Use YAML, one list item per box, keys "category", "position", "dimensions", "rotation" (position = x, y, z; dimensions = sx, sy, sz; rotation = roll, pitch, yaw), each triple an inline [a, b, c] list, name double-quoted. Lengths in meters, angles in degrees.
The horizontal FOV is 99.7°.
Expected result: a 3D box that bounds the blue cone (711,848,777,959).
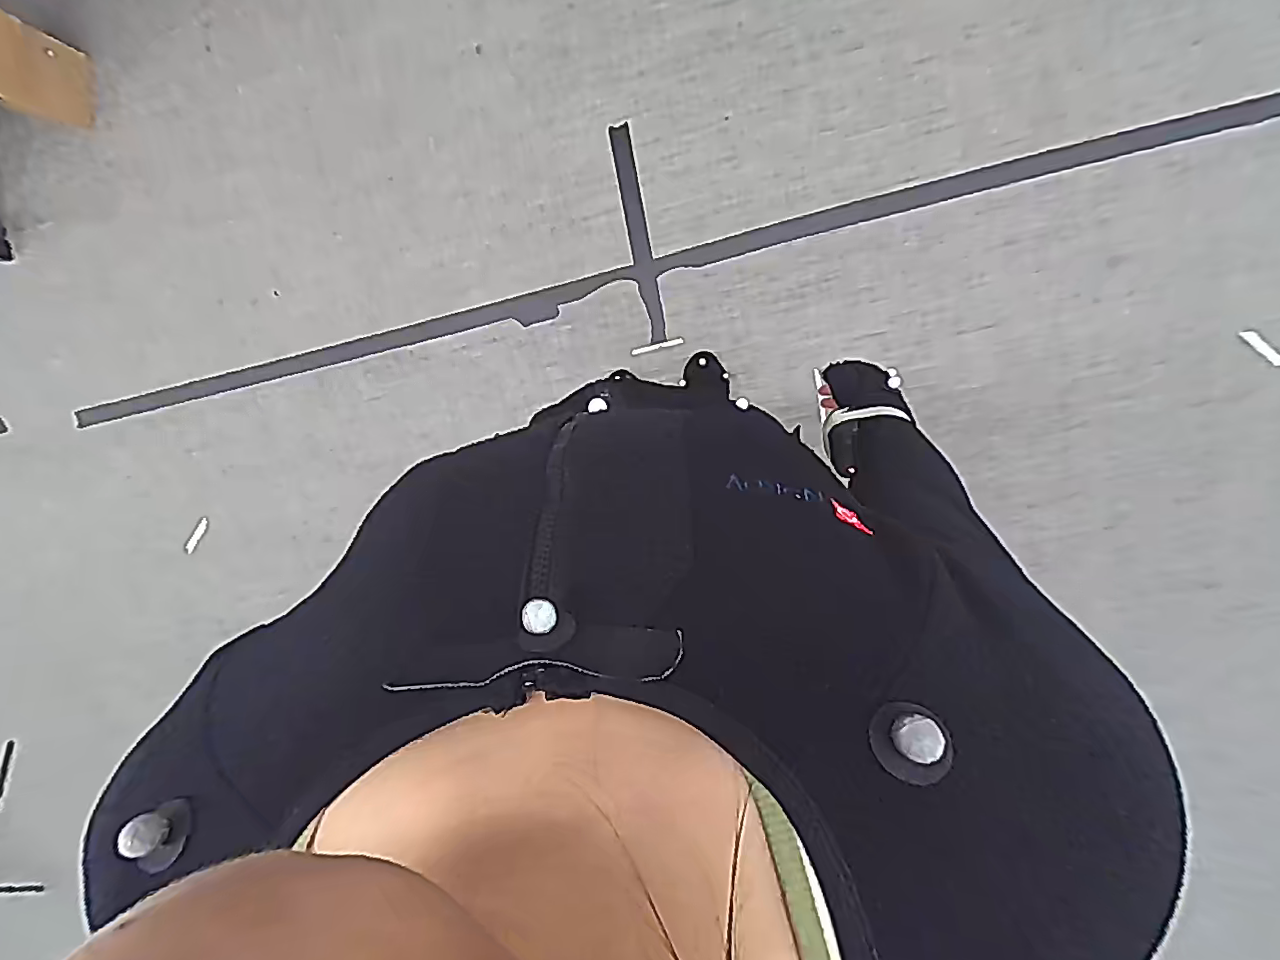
- category: "blue cone"
  position: [0.310, 1.266, 1.526]
  dimensions: [0.193, 0.380, 0.192]
  rotation: [-8, 102, 8]
